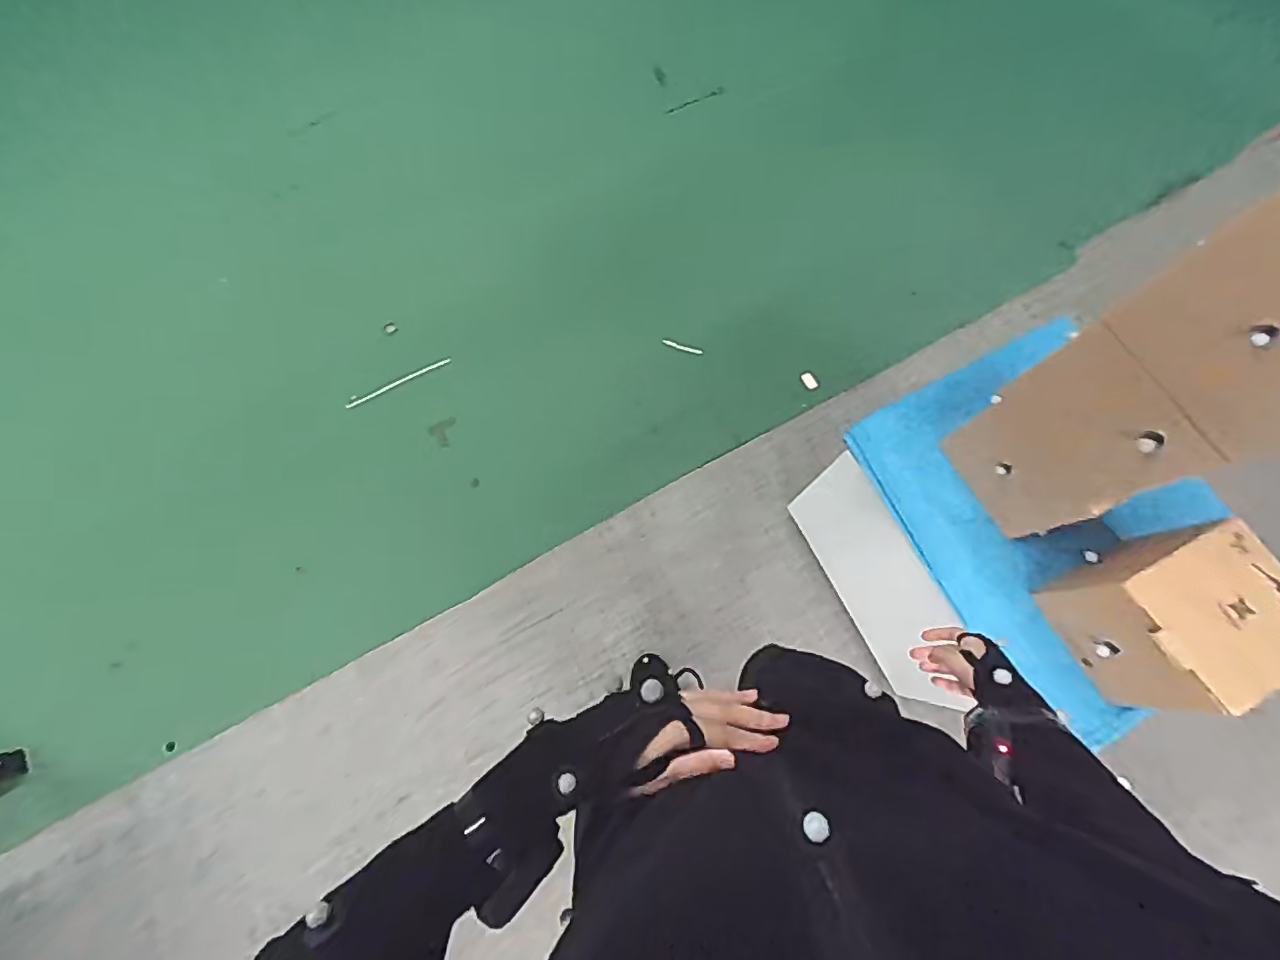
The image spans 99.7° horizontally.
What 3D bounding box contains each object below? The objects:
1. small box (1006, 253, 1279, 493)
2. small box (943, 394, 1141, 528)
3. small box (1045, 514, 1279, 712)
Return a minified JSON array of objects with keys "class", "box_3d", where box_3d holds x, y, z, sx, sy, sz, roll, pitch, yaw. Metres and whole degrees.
[{"class":"small box","box_3d":[0.565,-0.100,0.593,0.168,0.176,0.179,-26,75,-8]},{"class":"small box","box_3d":[0.572,-0.046,0.749,0.168,0.176,0.179,-27,75,-7]},{"class":"small box","box_3d":[0.666,0.168,0.683,0.179,0.176,0.168,-26,75,-6]}]
